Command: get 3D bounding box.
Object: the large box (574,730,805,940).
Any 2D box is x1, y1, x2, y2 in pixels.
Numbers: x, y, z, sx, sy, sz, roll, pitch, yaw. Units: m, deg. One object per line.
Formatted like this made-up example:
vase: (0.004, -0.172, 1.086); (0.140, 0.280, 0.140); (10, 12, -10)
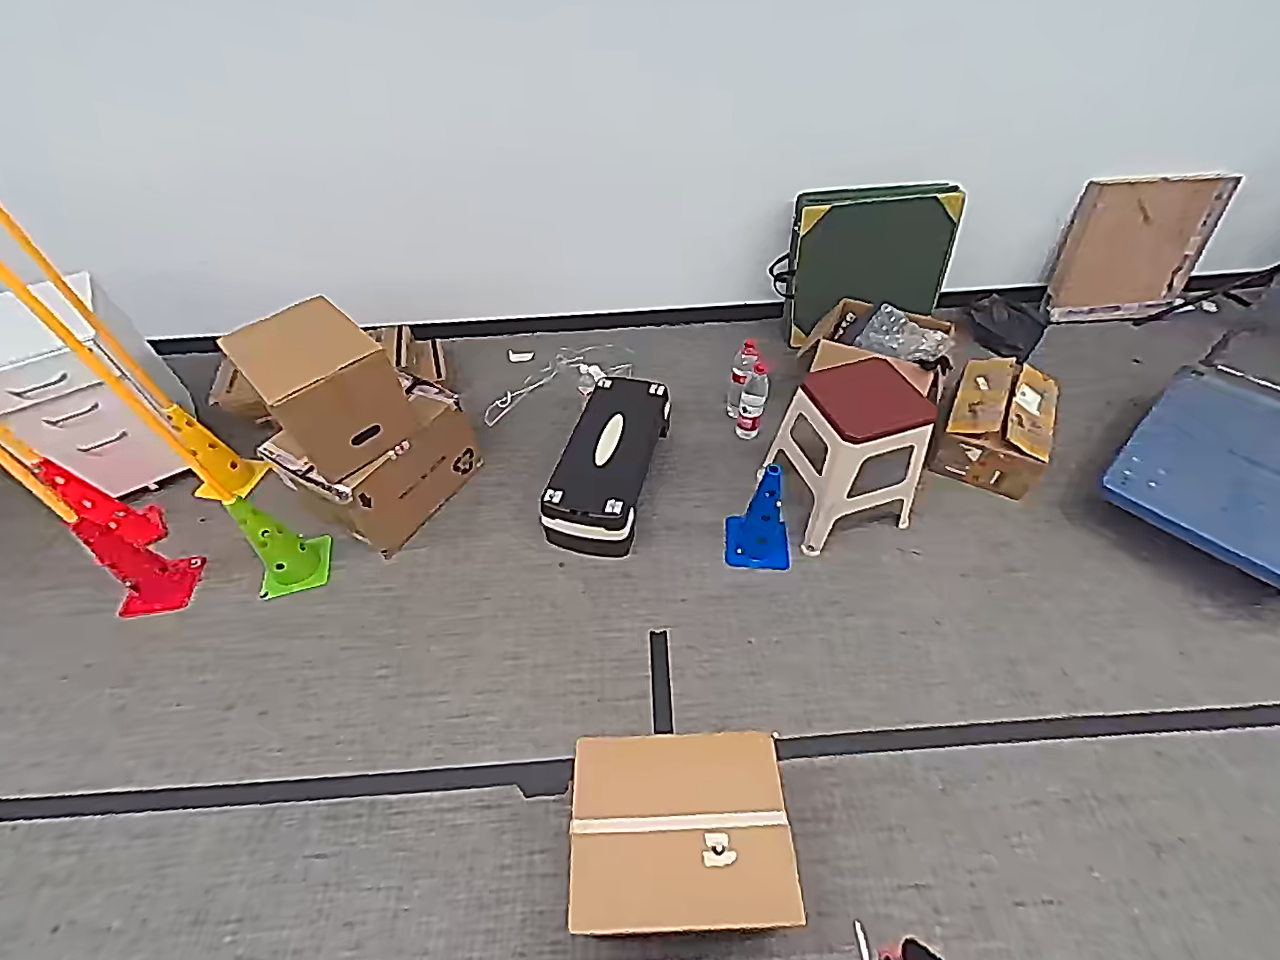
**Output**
large box: (0.078, 0.738, 1.123); (0.408, 0.320, 0.320); (-2, 49, -1)
